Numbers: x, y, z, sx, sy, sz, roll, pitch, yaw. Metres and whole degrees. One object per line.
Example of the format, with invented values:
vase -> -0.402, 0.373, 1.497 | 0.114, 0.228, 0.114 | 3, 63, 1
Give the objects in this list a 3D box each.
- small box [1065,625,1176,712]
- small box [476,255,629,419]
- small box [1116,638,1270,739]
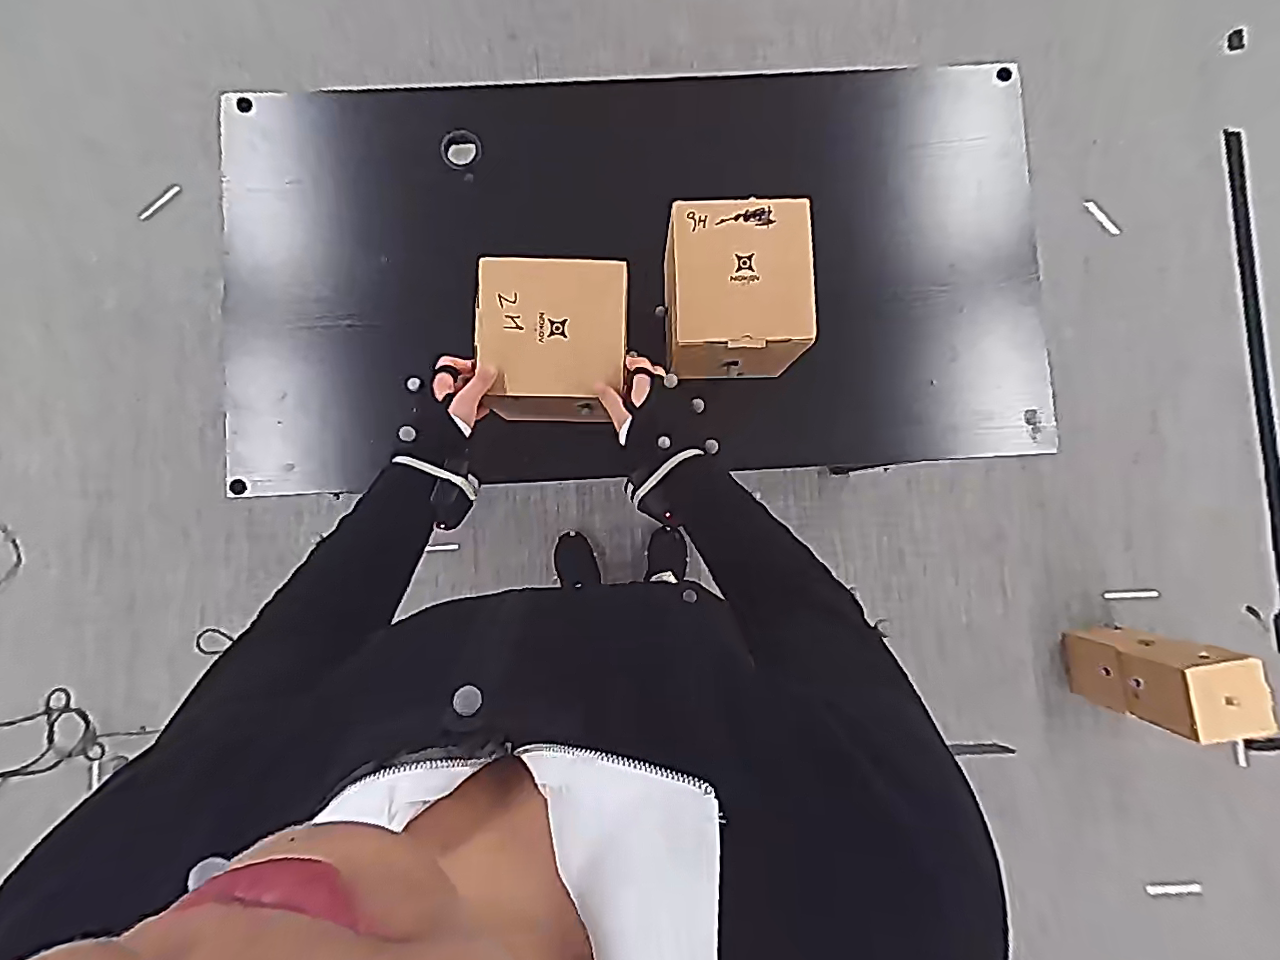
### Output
small box -> 1.268, 0.487, 1.427 | 0.168, 0.176, 0.179 | -6, 88, -1
small box -> -0.104, -0.176, 0.710 | 0.179, 0.176, 0.168 | 0, 87, -1
small box -> 1.282, 0.478, 1.265 | 0.179, 0.176, 0.168 | -9, 86, 0
